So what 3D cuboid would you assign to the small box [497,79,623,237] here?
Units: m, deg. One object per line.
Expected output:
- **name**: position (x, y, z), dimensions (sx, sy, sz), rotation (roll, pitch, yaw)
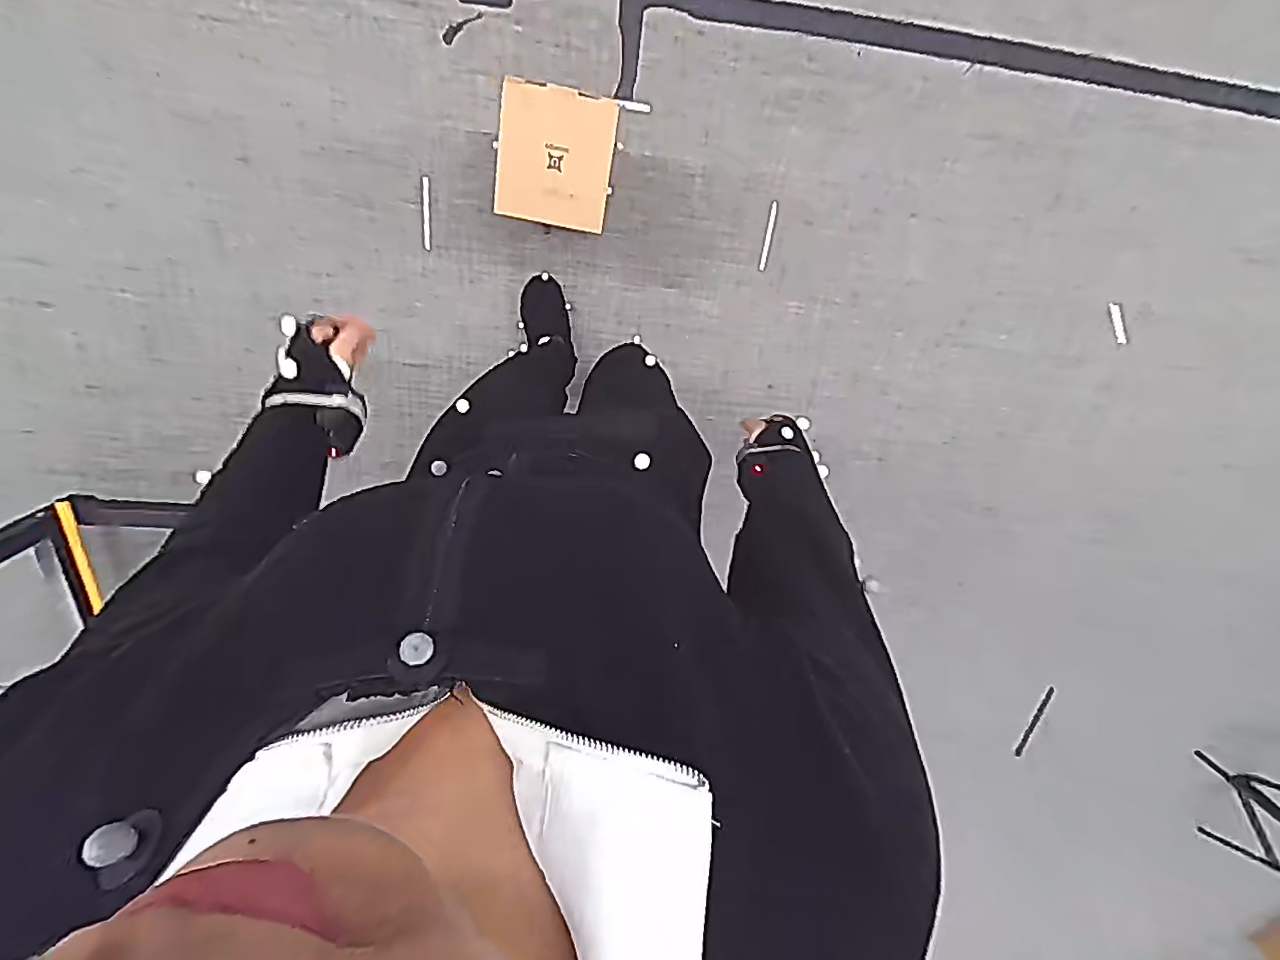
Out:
- **small box**: position (-0.125, -0.496, 0.858), dimensions (0.168, 0.176, 0.179), rotation (8, 115, -7)
